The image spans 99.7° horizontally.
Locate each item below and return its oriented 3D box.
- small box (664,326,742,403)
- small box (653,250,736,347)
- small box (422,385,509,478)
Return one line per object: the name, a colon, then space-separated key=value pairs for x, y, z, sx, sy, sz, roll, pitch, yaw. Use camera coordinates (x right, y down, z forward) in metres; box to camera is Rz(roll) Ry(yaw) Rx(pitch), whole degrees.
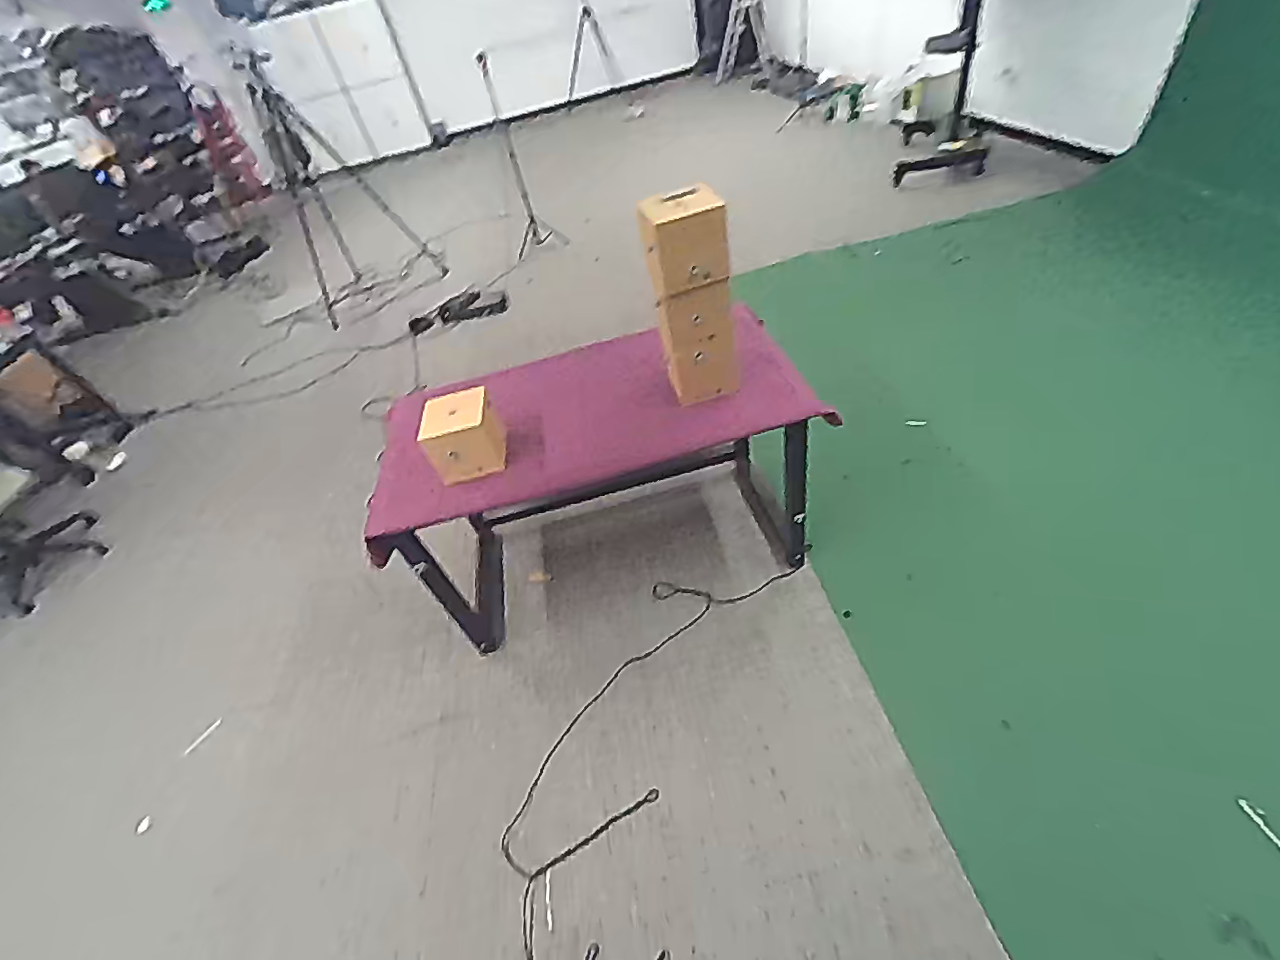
small box: x=0.174 y=-0.340 z=1.494 sx=0.168 sy=0.176 sz=0.179 roll=-17 pitch=42 yaw=0
small box: x=0.140 y=-0.456 z=1.382 sx=0.168 sy=0.176 sz=0.179 roll=-15 pitch=43 yaw=0
small box: x=-0.460 y=-0.123 z=1.454 sx=0.168 sy=0.176 sz=0.179 roll=-15 pitch=43 yaw=1
